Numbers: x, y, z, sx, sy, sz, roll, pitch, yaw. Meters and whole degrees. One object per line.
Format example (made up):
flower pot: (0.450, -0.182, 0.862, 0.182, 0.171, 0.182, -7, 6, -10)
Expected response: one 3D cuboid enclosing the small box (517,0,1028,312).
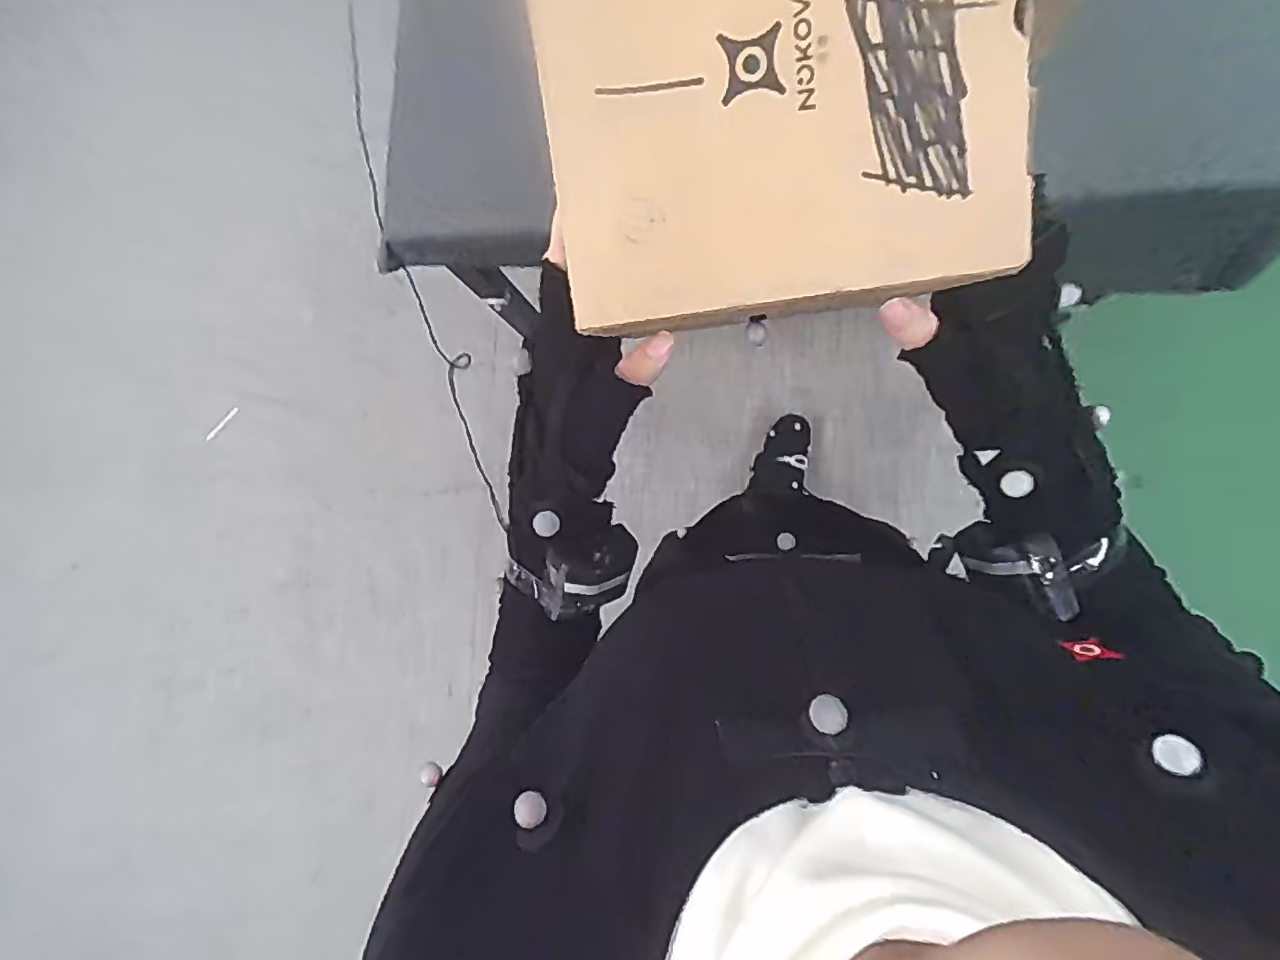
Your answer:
small box: (0.052, -0.179, 0.266, 0.179, 0.176, 0.168, -4, 103, 9)
